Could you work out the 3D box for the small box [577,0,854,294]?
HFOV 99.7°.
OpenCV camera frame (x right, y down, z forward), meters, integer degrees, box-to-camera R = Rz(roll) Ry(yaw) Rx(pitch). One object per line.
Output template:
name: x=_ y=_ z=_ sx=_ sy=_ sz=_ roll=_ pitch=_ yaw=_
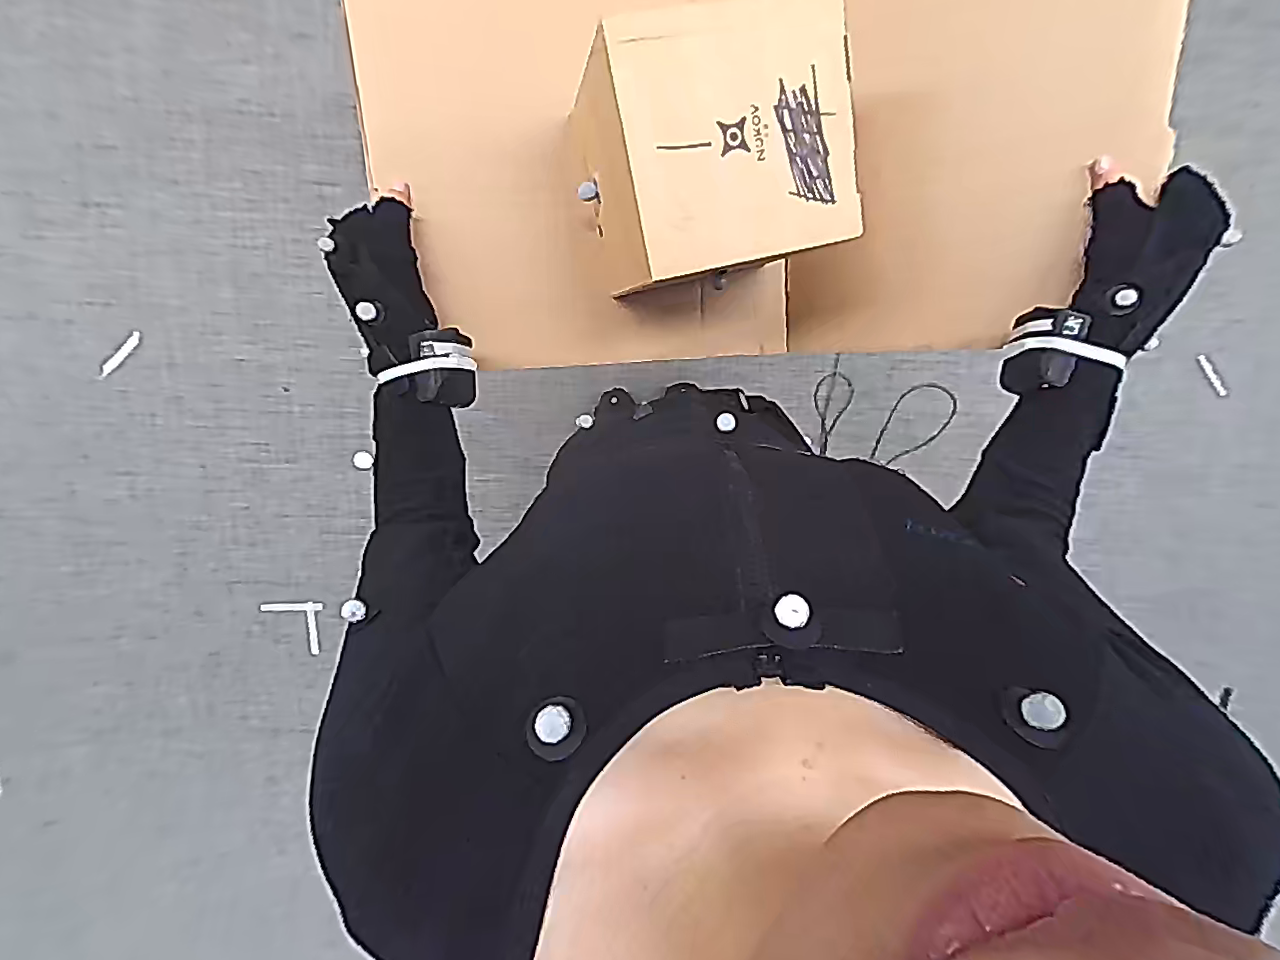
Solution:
small box: x=0.055 y=-0.265 z=0.468 sx=0.179 sy=0.176 sz=0.168 roll=-15 pitch=107 yaw=-9
